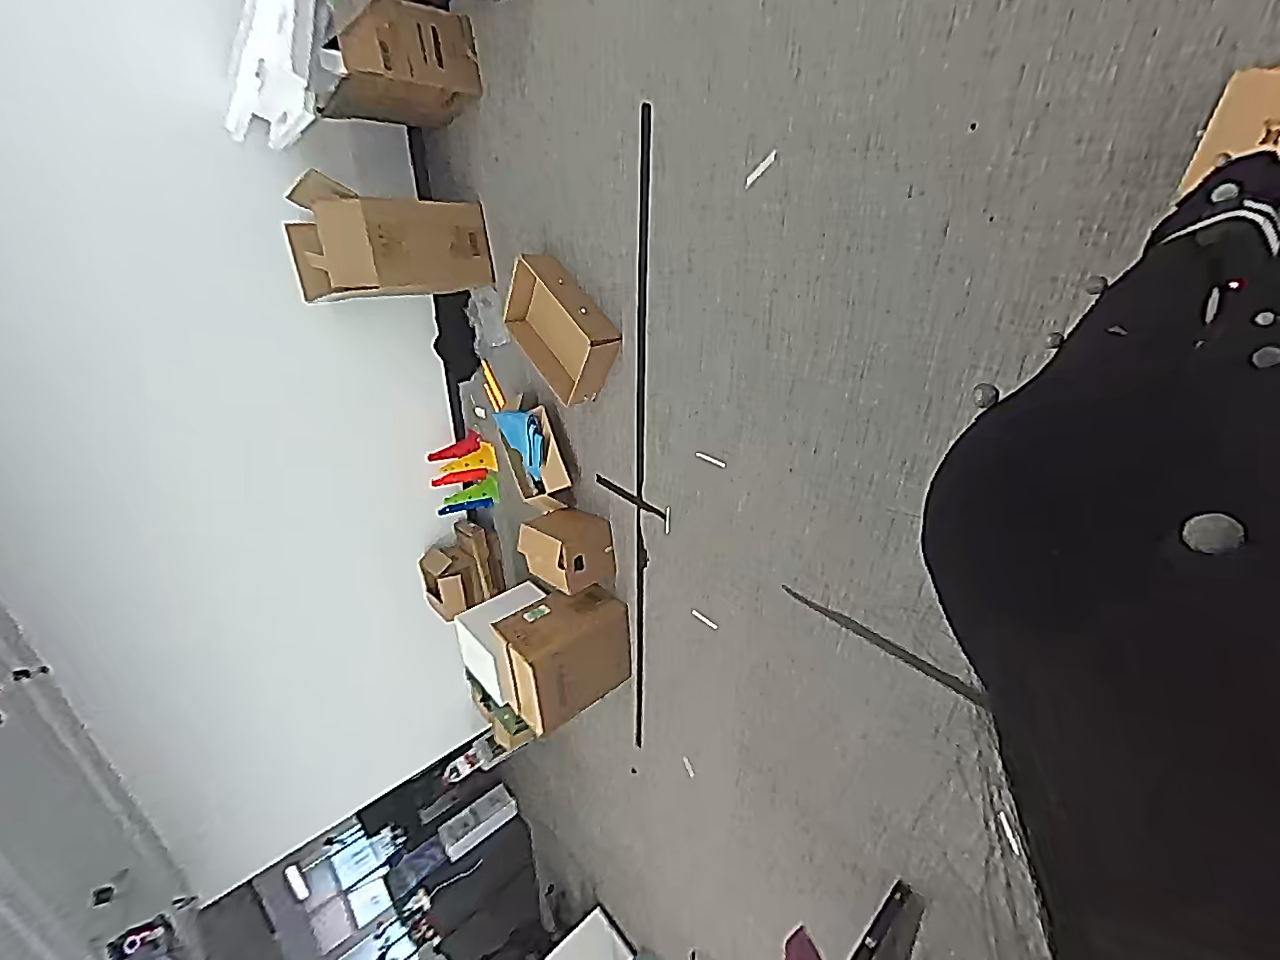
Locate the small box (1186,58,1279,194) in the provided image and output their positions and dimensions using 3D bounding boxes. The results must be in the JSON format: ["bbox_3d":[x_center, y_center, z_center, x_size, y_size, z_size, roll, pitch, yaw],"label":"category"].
[{"bbox_3d":[1.038,-0.561,0.867,0.168,0.176,0.179,32,131,41],"label":"small box"}]
